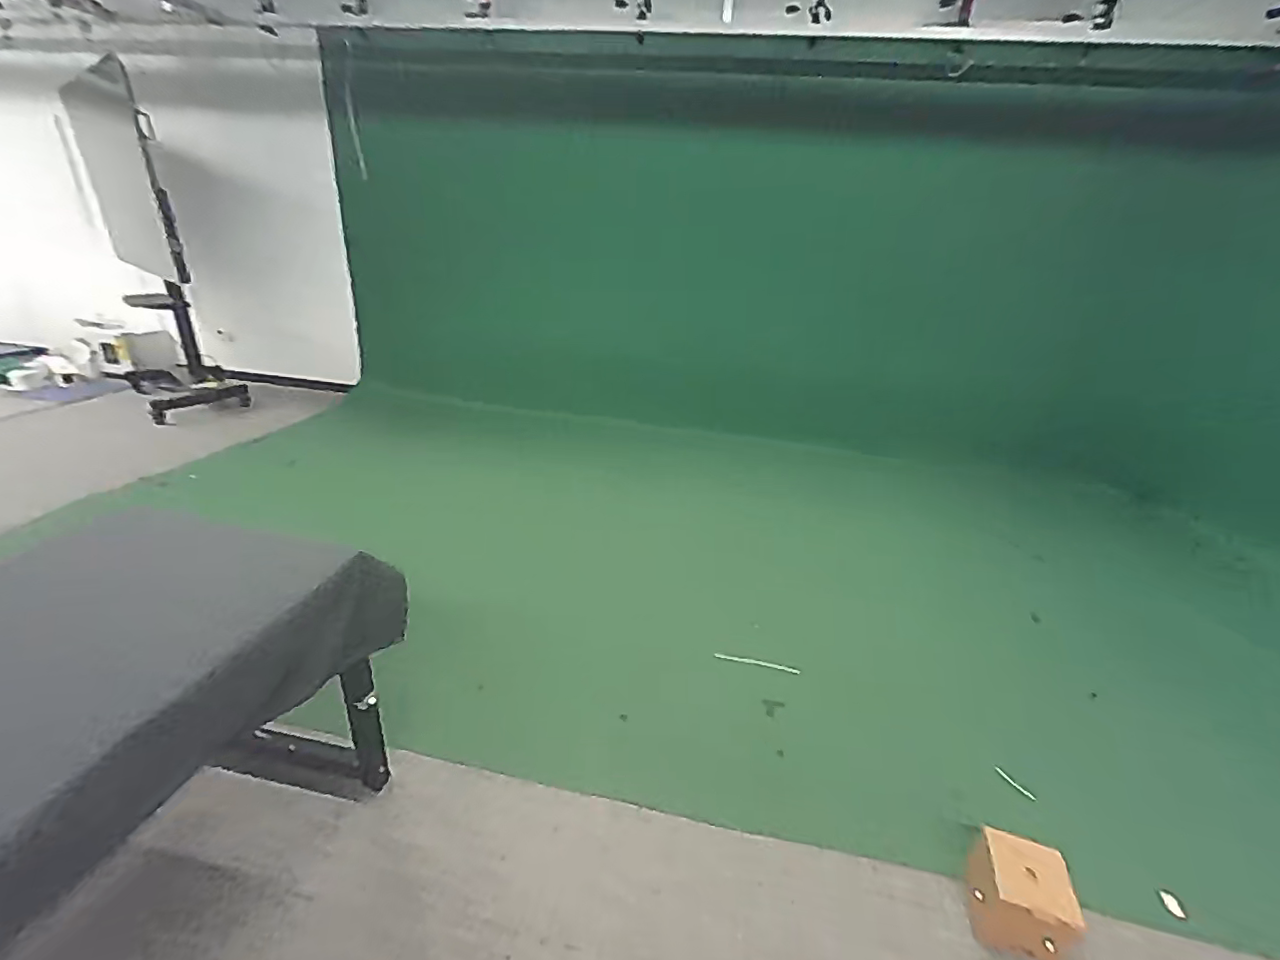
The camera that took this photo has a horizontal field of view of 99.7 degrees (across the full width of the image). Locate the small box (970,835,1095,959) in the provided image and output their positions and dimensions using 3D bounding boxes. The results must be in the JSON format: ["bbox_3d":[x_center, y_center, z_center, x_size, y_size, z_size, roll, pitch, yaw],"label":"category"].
[{"bbox_3d":[0.890,0.981,1.246,0.168,0.176,0.179,13,24,15],"label":"small box"}]
